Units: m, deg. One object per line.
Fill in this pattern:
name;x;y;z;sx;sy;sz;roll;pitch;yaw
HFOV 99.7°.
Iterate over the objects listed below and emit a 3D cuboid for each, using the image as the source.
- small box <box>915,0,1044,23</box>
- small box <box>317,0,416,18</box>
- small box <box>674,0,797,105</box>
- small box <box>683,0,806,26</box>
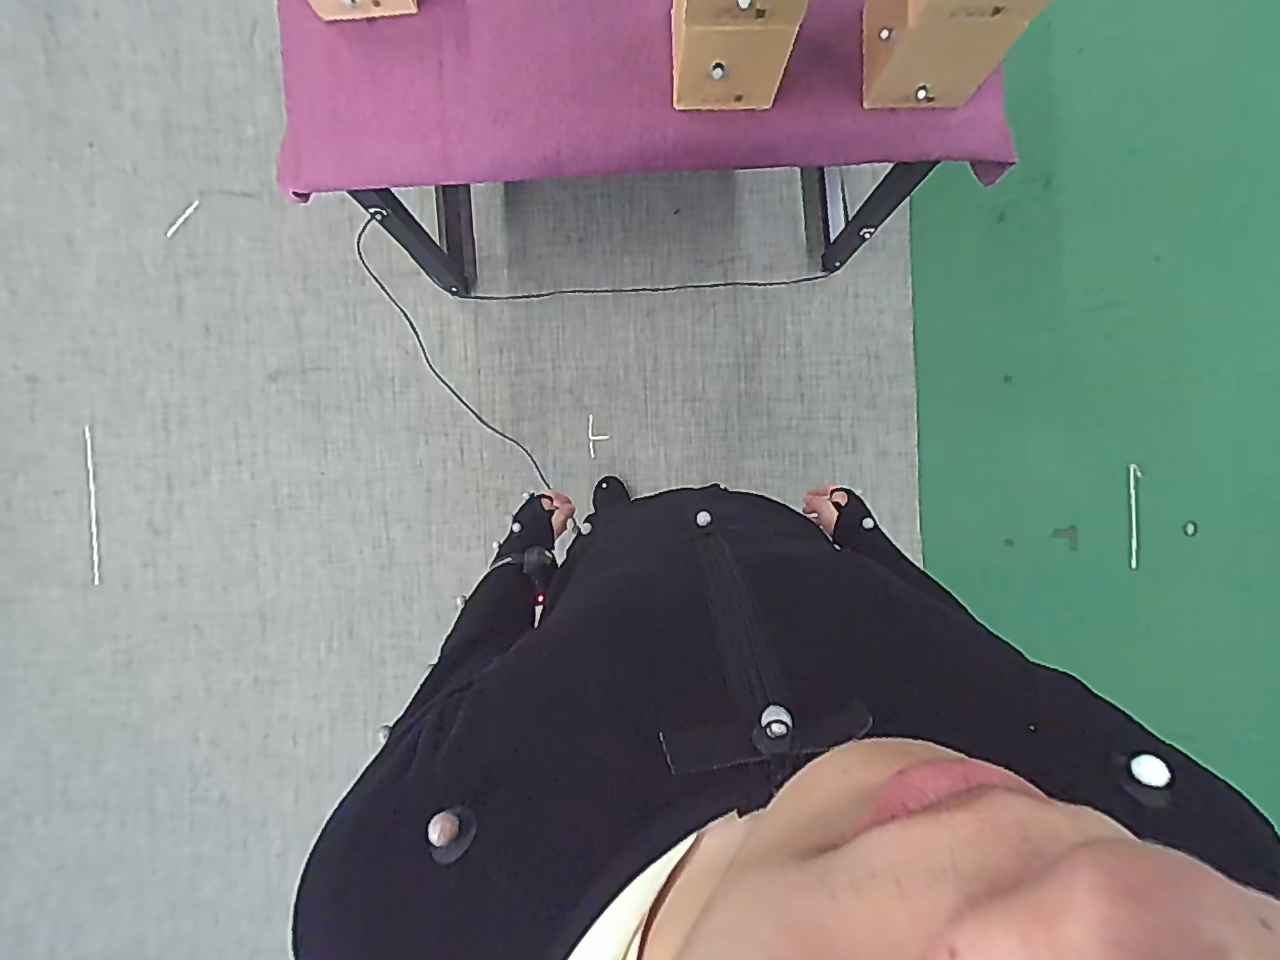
small box;0.458;-0.721;0.666;0.168;0.176;0.179;1;89;1
small box;-0.464;-0.870;0.832;0.168;0.176;0.179;-6;91;0
small box;0.139;-0.714;0.834;0.168;0.176;0.179;-1;88;0
small box;0.141;-0.719;0.670;0.168;0.176;0.179;0;89;1
